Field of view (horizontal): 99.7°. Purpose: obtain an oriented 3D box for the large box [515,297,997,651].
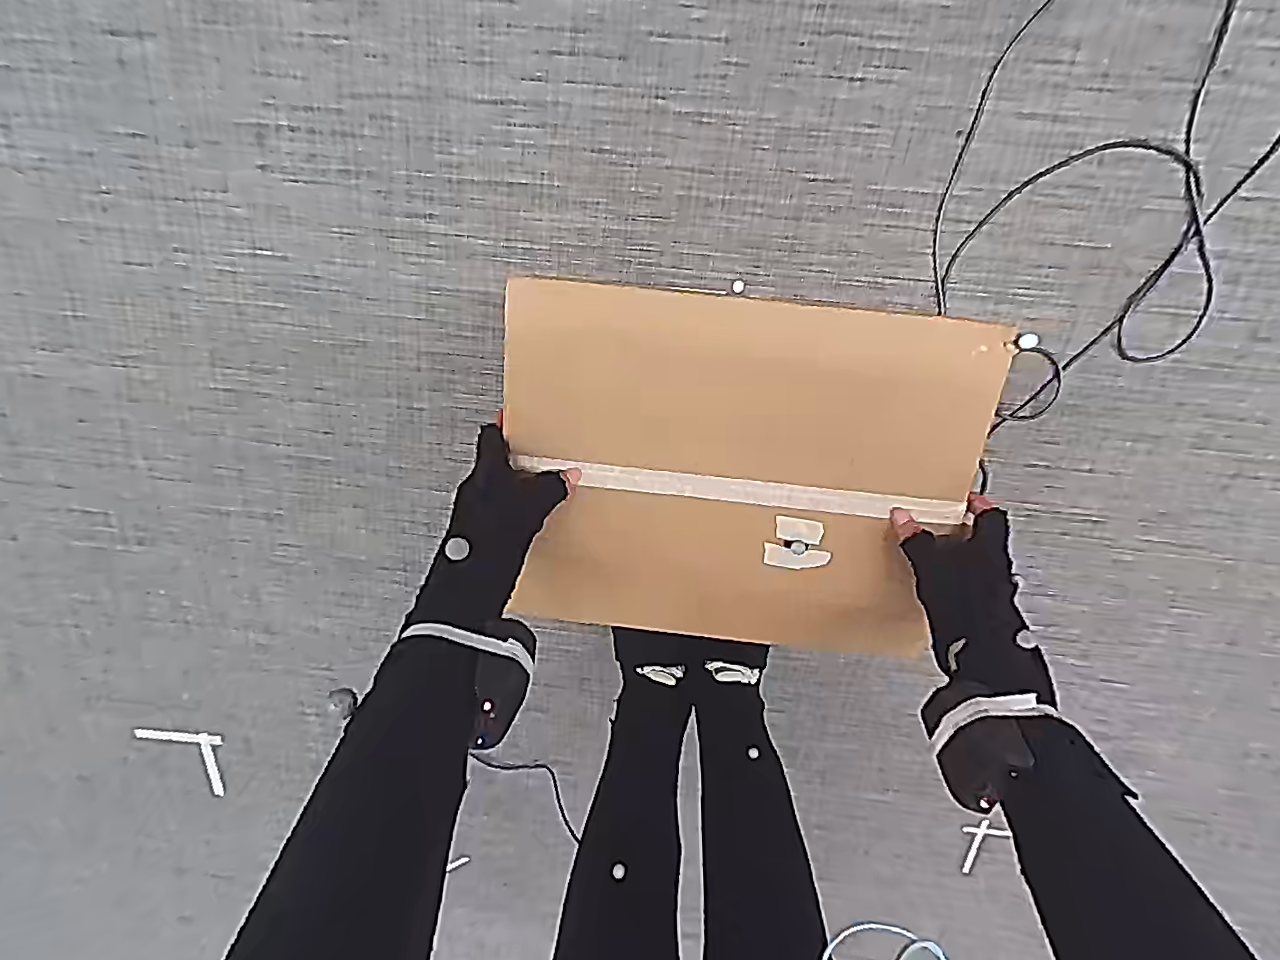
[{"bbox_3d":[0.091,-0.038,0.631,0.408,0.320,0.320,6,110,2],"label":"large box"}]
